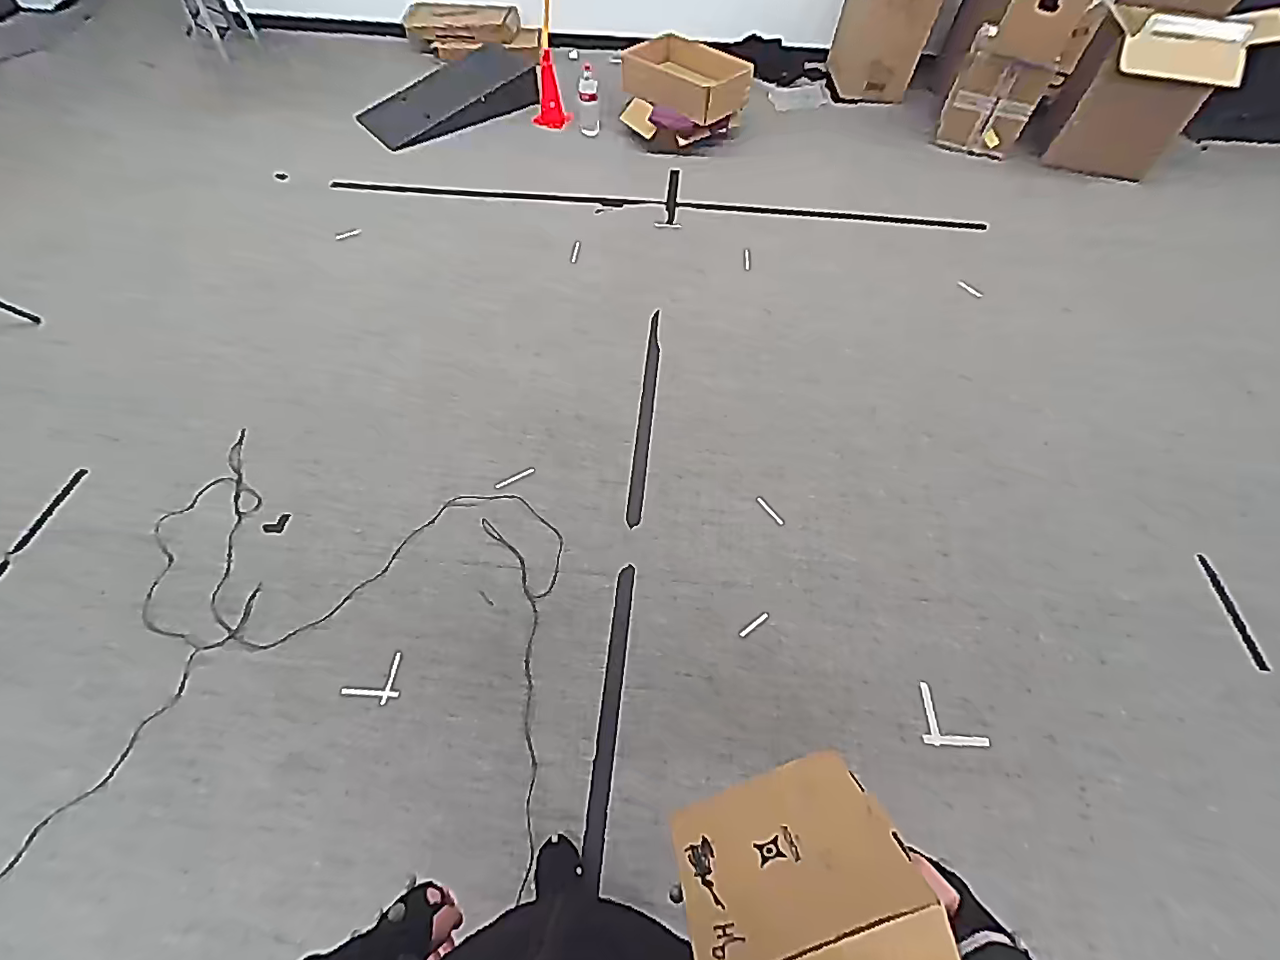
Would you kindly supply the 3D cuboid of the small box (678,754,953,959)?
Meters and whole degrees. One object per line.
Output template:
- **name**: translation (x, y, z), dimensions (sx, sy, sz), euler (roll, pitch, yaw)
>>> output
- **small box**: translation (0.150, 0.386, 0.467), dimensions (0.179, 0.168, 0.176), euler (-20, 98, -2)
